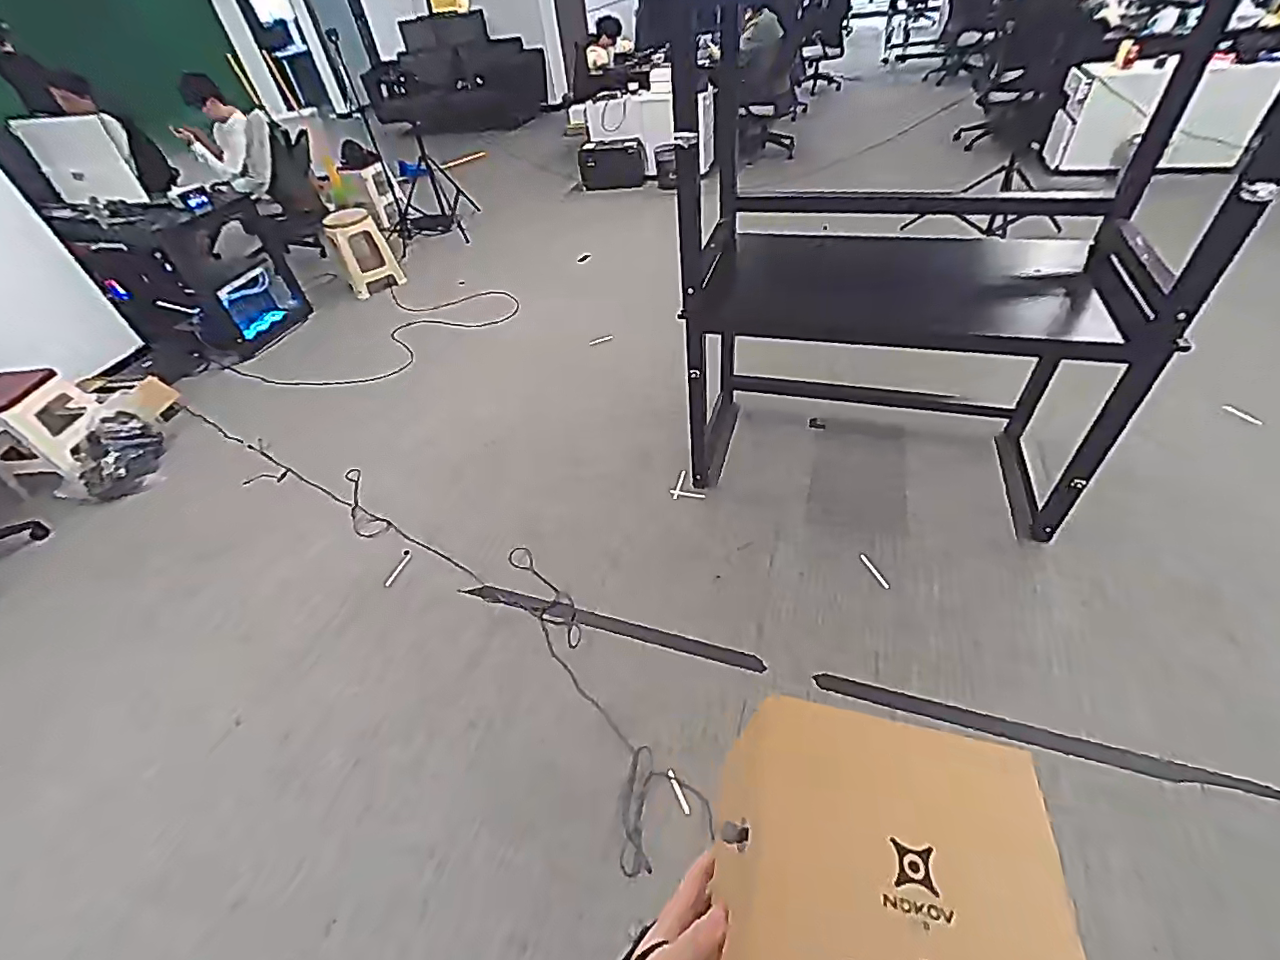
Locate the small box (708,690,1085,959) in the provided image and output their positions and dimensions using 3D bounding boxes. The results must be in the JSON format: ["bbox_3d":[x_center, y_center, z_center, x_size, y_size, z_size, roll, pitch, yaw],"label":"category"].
[{"bbox_3d":[0.141,0.268,0.347,0.168,0.176,0.179,11,48,7],"label":"small box"}]
